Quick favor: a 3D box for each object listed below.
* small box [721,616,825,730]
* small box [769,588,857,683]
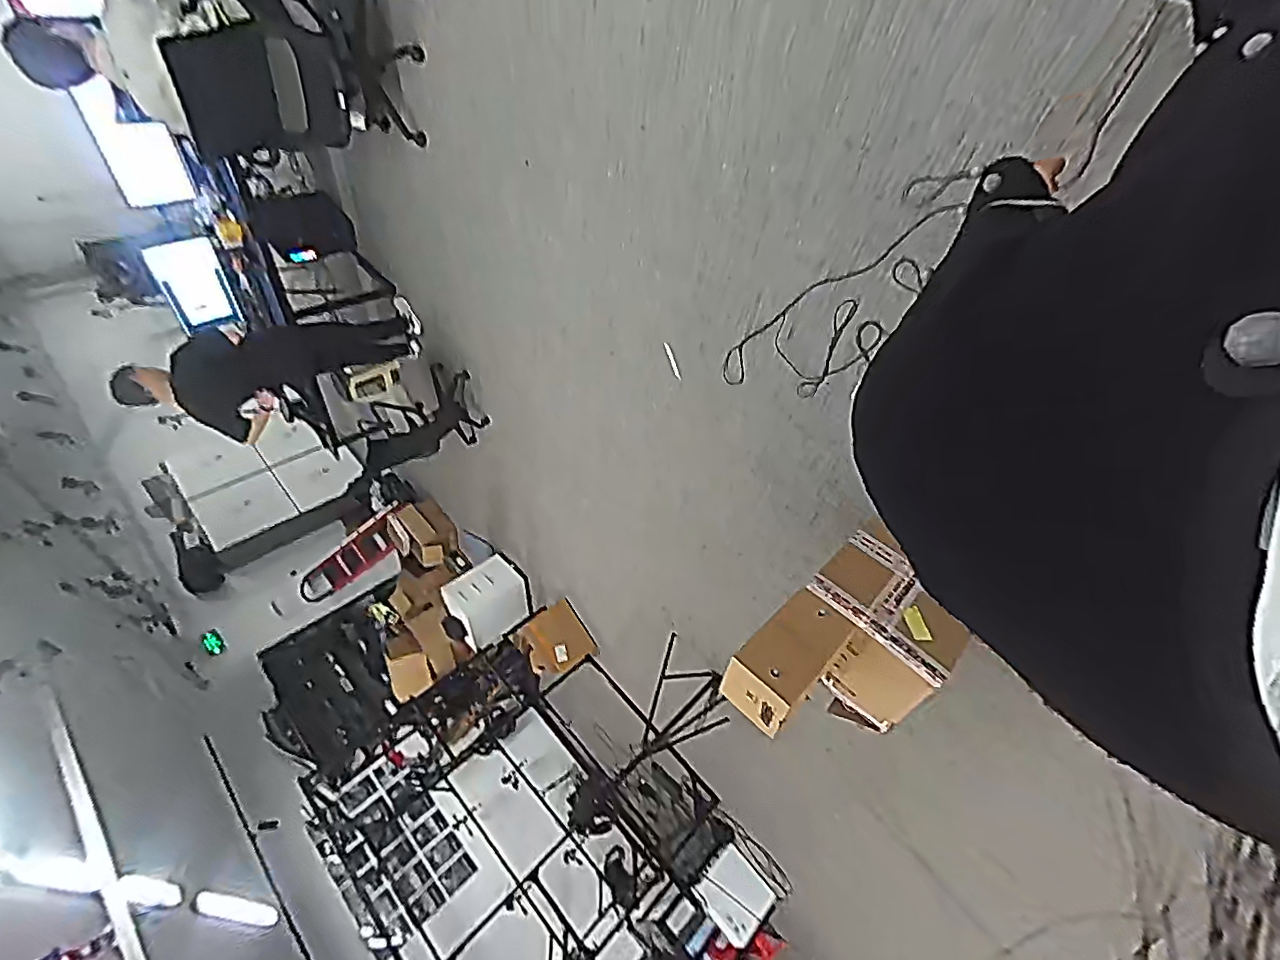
[{"bbox_3d":[0.337,0.483,1.372,0.179,0.176,0.168,37,138,29],"label":"small box"},{"bbox_3d":[0.452,0.419,1.474,0.179,0.176,0.168,37,138,29],"label":"small box"}]
